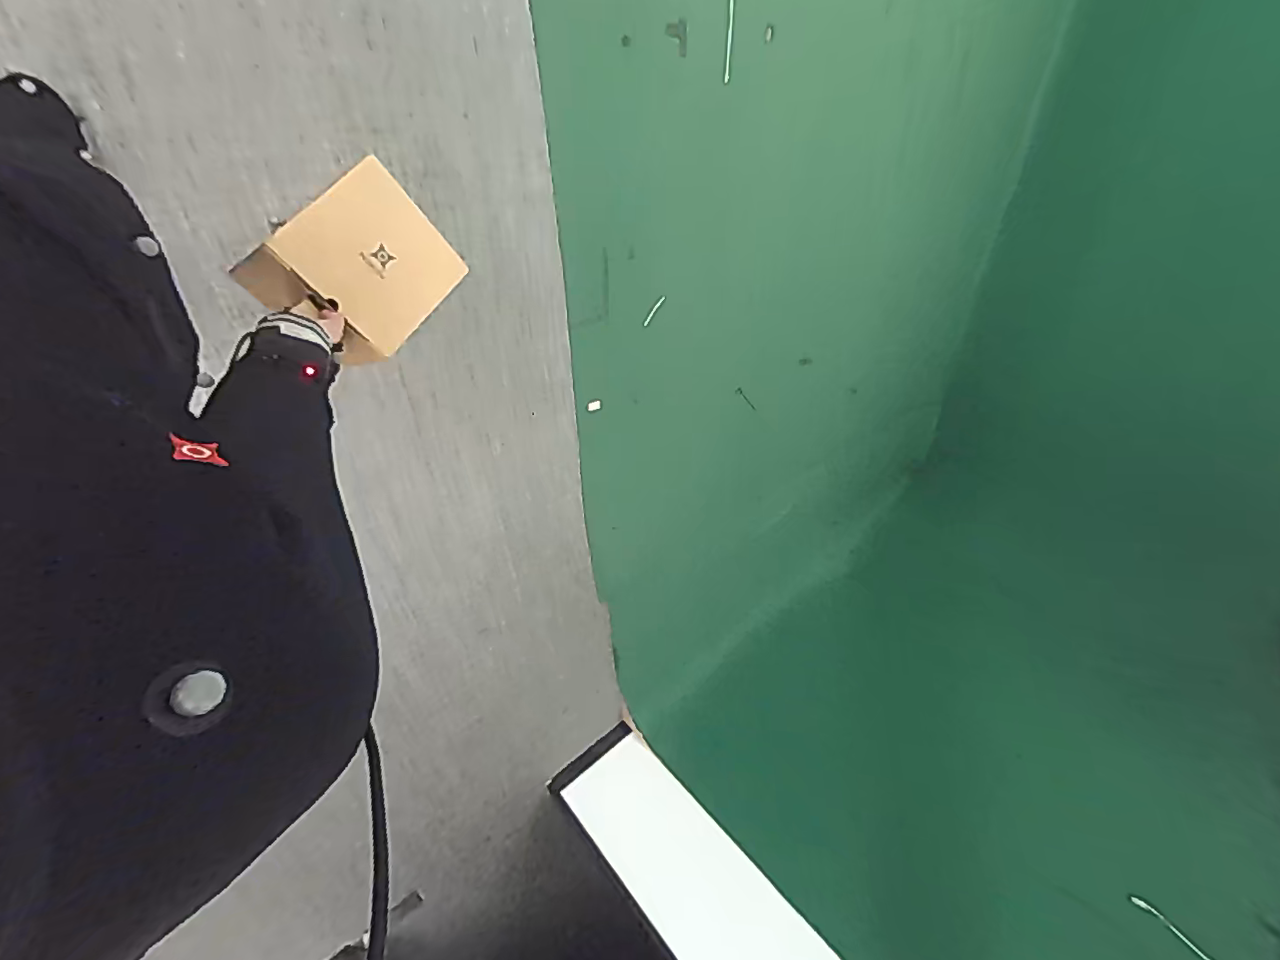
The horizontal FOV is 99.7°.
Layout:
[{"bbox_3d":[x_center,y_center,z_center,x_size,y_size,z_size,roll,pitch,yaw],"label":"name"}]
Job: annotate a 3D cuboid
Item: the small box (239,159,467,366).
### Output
[{"bbox_3d":[-0.369,-0.267,0.697,0.168,0.176,0.179,50,59,-38],"label":"small box"}]
